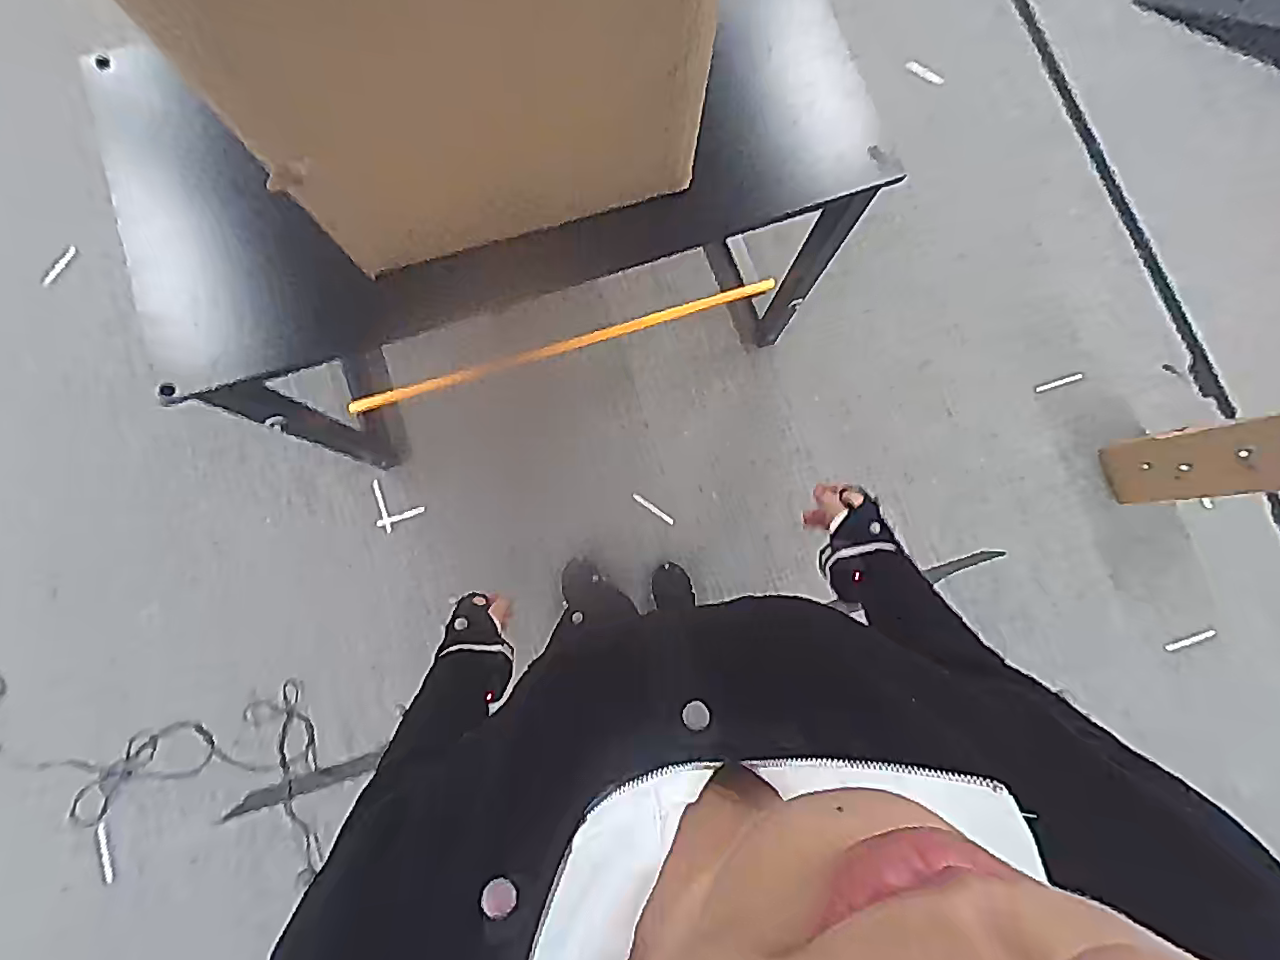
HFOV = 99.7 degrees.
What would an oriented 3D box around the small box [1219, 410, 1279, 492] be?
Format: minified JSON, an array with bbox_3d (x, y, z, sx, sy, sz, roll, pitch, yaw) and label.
[{"bbox_3d":[1.447,-0.077,1.173,0.179,0.176,0.168,-15,82,-2],"label":"small box"}]

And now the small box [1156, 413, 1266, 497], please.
[{"bbox_3d":[1.455,-0.060,1.335,0.179,0.176,0.168,-14,83,-3],"label":"small box"}]

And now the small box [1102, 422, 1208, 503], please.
[{"bbox_3d":[1.444,-0.044,1.499,0.168,0.176,0.179,-14,84,-3],"label":"small box"}]
